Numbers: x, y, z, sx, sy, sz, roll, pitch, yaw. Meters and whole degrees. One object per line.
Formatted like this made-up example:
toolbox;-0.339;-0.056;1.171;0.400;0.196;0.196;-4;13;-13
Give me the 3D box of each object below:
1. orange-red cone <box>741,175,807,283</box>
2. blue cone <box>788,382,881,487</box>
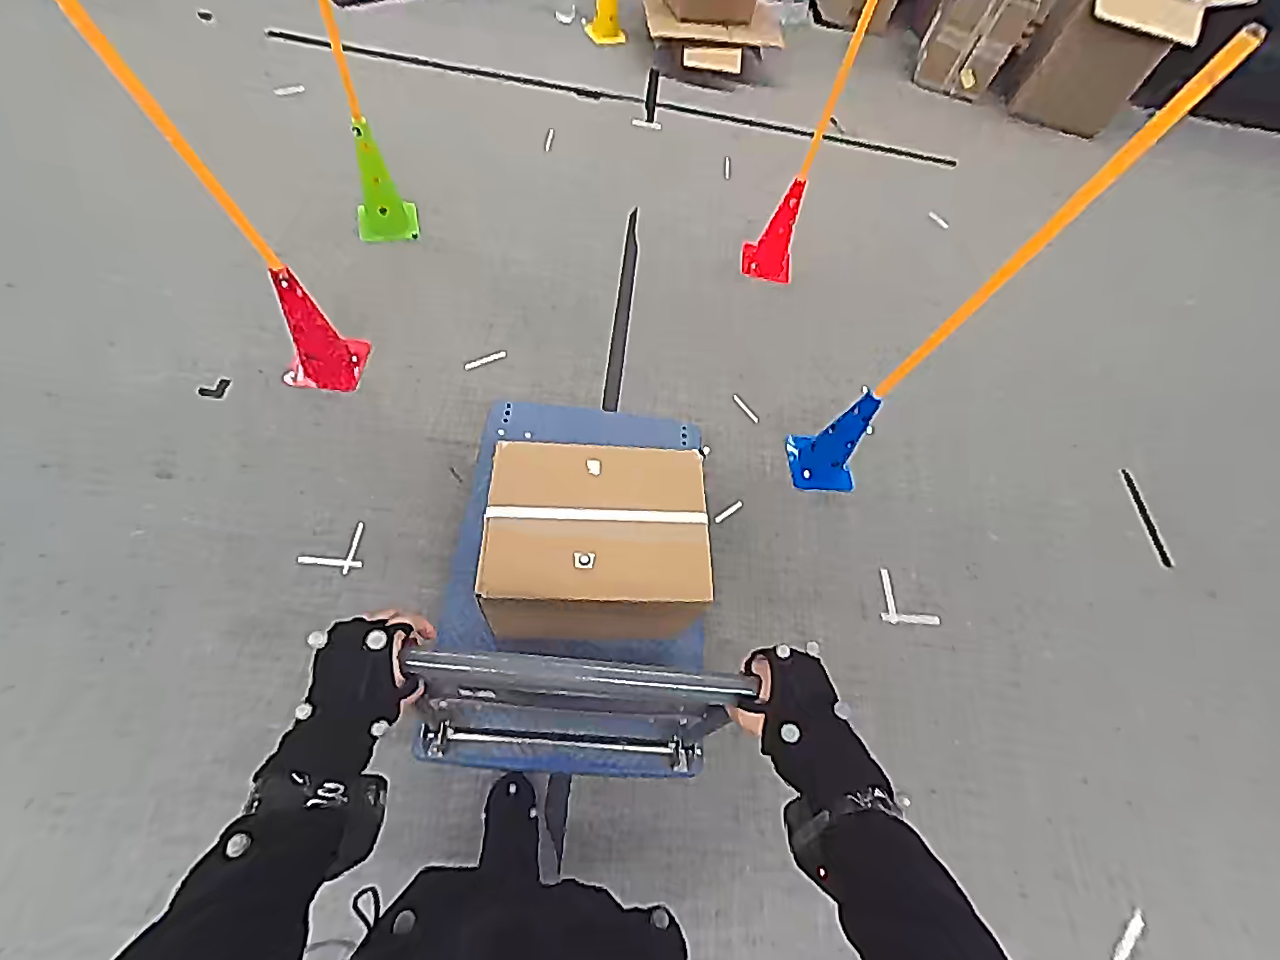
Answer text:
orange-red cone;0.532;-0.951;2.004;0.199;0.360;0.198;14;61;-3
blue cone;0.597;-0.145;1.585;0.193;0.380;0.192;4;60;-8
